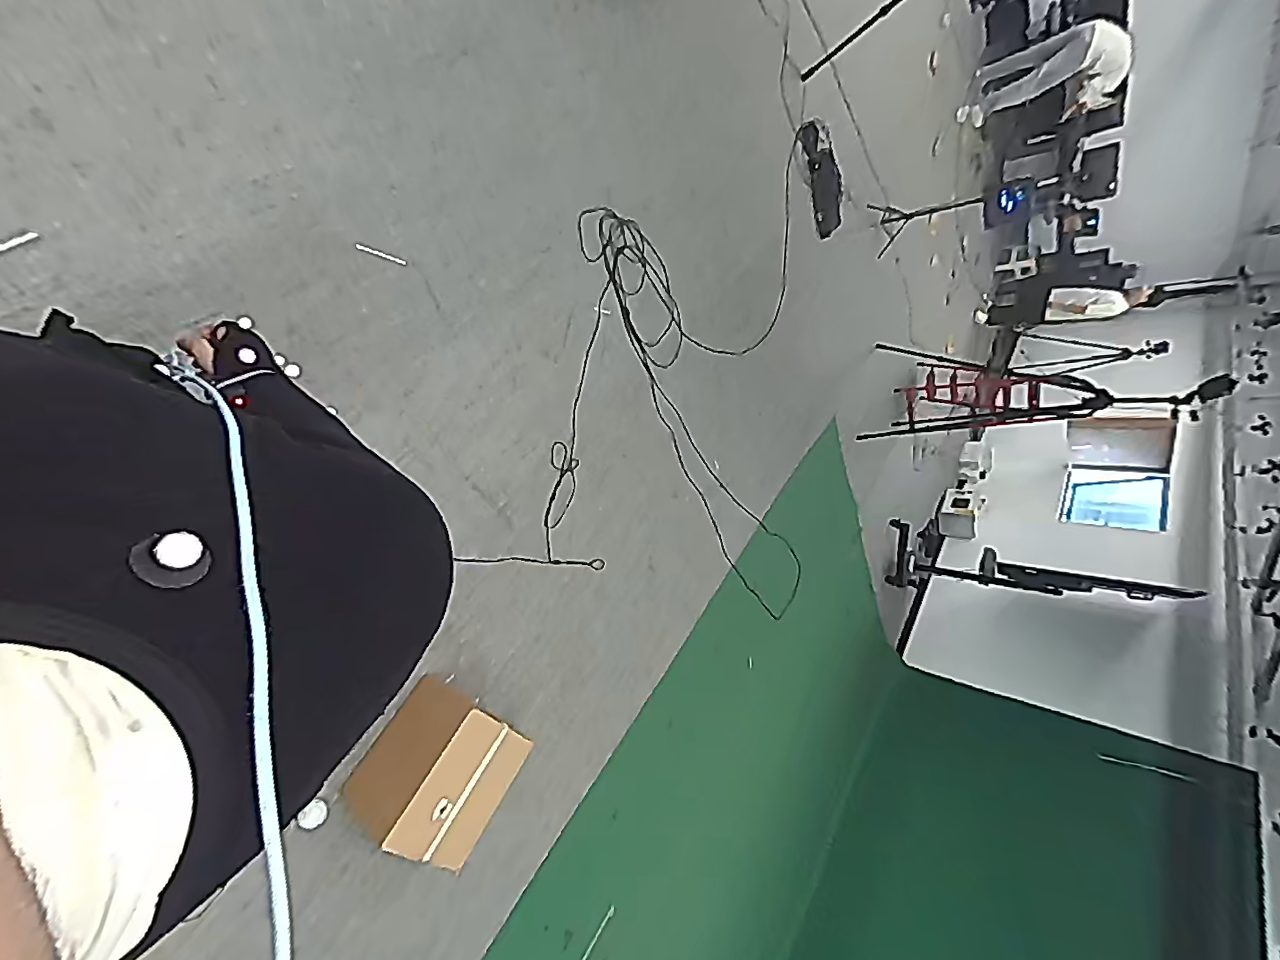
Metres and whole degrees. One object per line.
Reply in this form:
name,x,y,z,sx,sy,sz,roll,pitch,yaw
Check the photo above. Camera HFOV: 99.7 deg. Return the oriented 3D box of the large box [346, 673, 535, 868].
large box,-0.616,0.895,1.699,0.408,0.320,0.320,-57,131,-25
